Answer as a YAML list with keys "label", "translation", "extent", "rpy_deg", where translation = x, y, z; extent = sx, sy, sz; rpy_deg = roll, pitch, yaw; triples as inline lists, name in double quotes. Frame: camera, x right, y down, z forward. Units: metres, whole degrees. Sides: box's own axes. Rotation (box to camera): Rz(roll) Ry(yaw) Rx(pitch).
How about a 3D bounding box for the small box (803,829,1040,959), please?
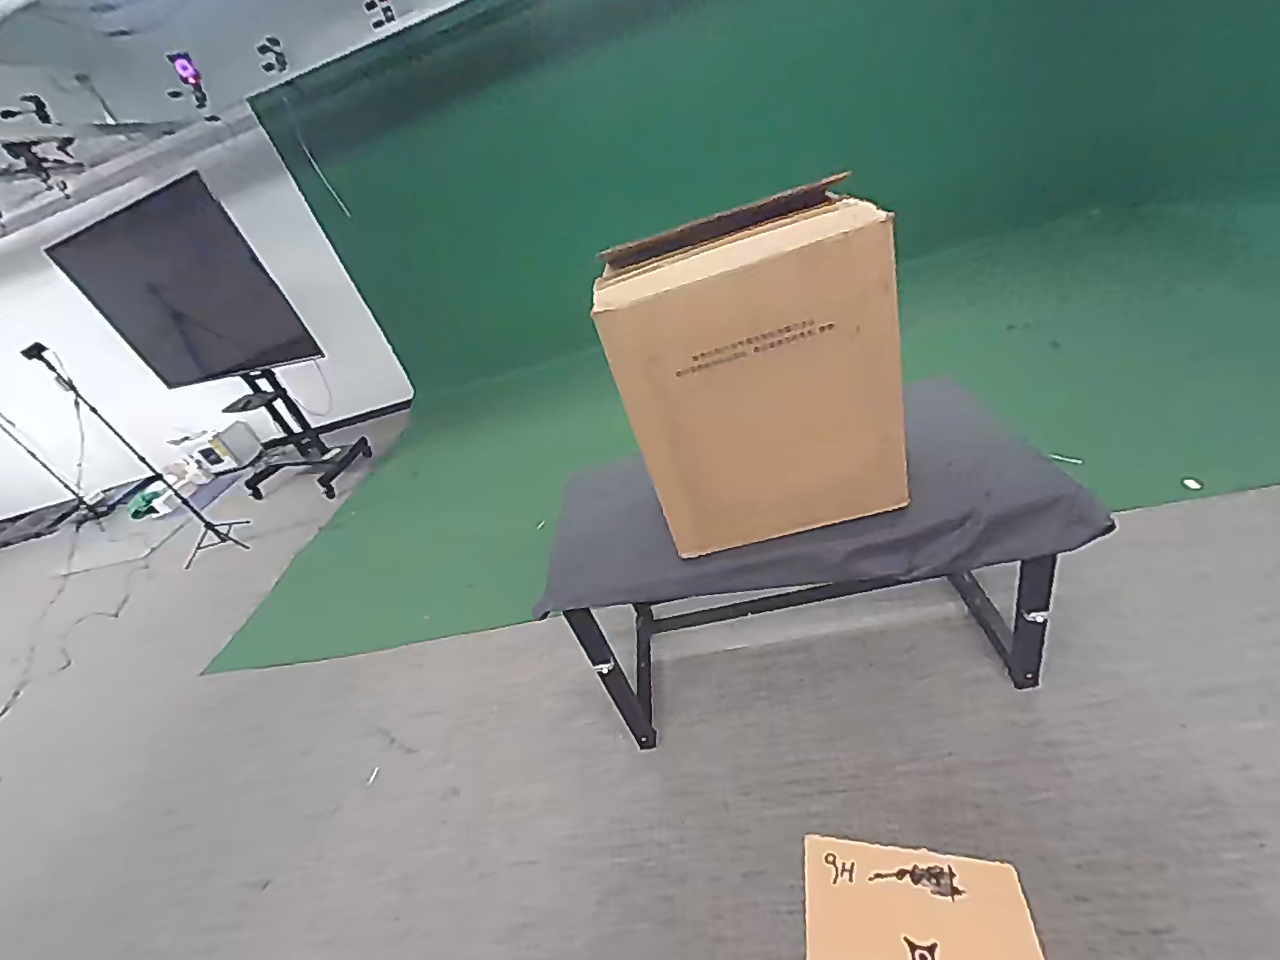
- label: "small box"
  translation: [0.220, 0.427, 0.434]
  extent: [0.168, 0.176, 0.179]
  rpy_deg: [-2, 29, 16]
